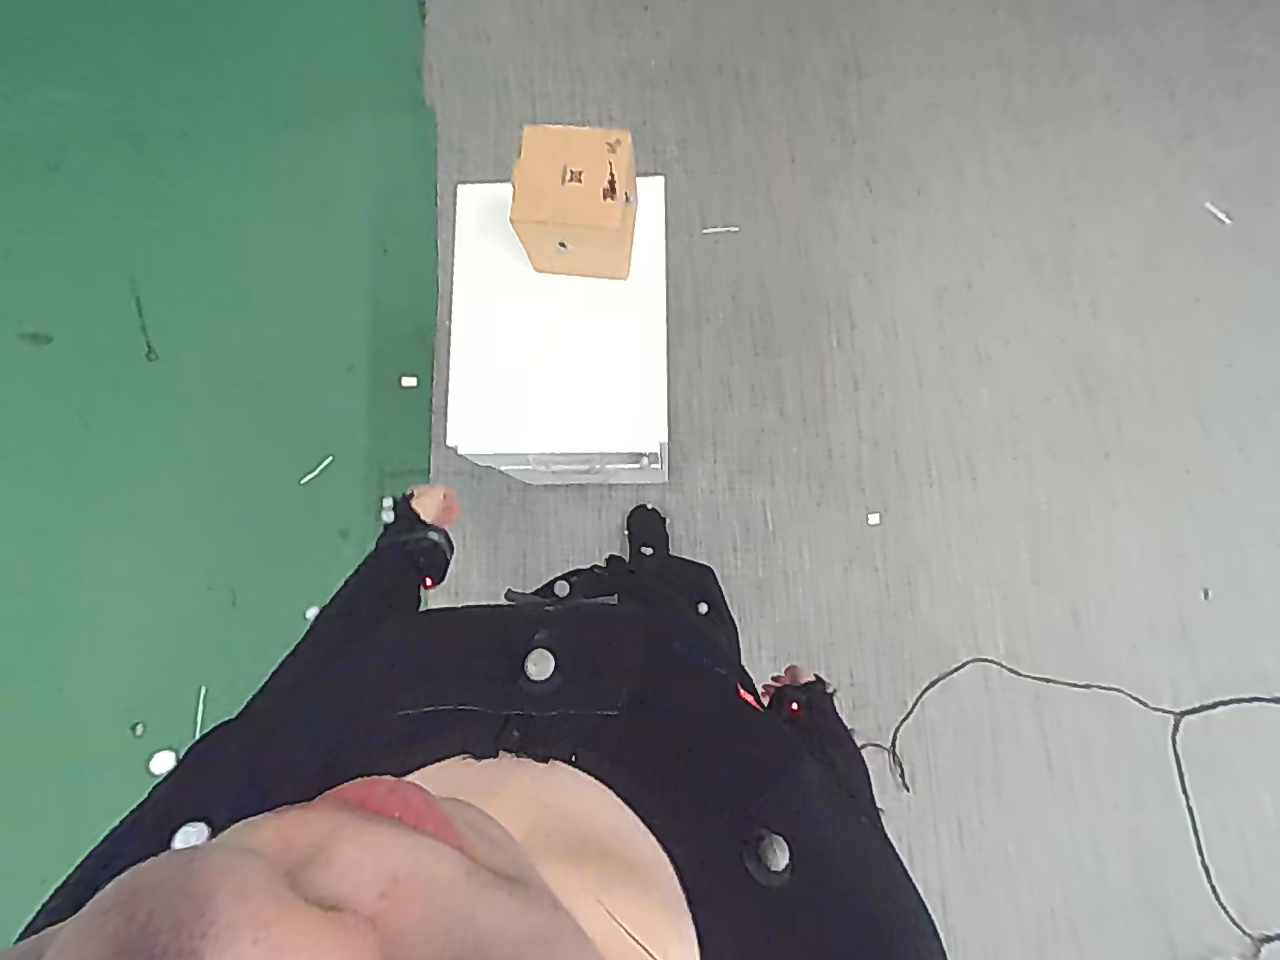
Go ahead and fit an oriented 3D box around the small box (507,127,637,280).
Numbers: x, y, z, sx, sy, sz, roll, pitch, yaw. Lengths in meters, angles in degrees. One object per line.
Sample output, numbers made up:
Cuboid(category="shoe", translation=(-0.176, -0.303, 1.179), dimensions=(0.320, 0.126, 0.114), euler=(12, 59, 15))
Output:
Cuboid(category="small box", translation=(-0.105, -0.459, 0.919), dimensions=(0.179, 0.176, 0.168), euler=(7, 83, 4))
